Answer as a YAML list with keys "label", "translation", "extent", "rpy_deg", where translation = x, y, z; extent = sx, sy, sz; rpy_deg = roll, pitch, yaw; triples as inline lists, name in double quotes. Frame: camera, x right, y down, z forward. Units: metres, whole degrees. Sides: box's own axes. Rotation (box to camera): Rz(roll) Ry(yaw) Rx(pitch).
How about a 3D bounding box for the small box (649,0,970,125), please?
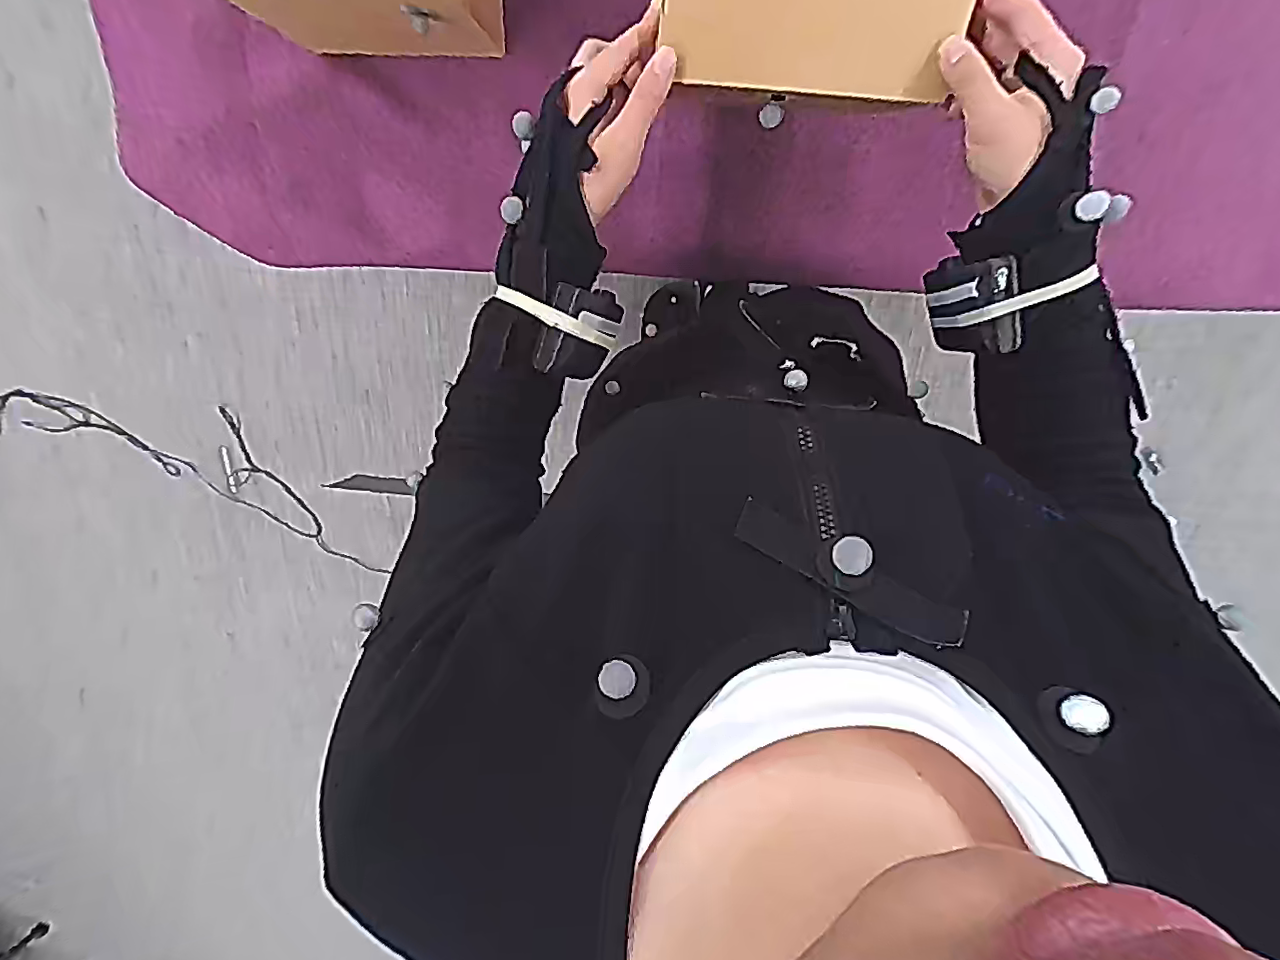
- label: "small box"
  translation: [0.099, -0.338, 0.345]
  extent: [0.179, 0.176, 0.168]
  rpy_deg: [4, 127, 0]
